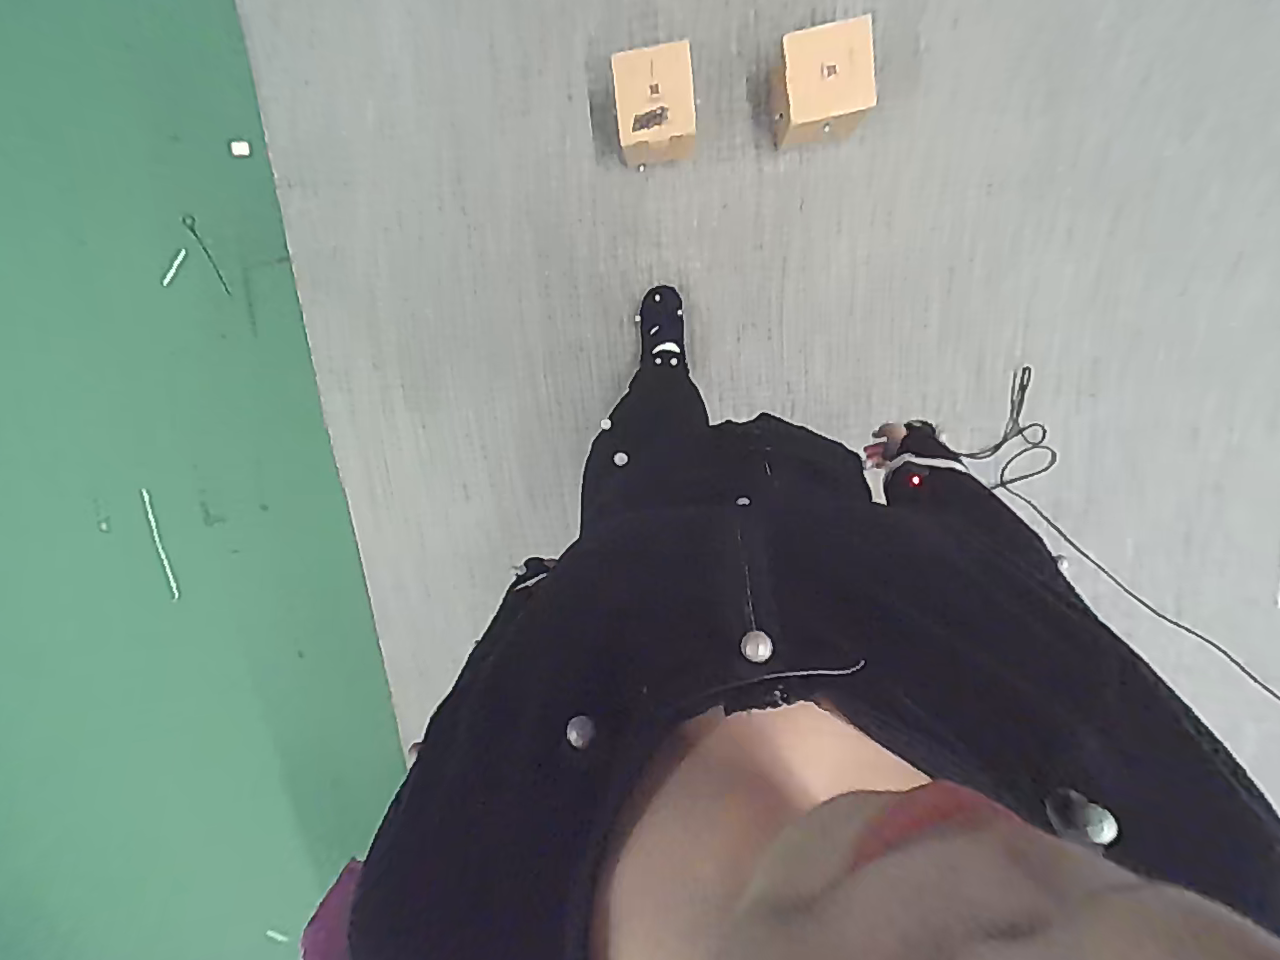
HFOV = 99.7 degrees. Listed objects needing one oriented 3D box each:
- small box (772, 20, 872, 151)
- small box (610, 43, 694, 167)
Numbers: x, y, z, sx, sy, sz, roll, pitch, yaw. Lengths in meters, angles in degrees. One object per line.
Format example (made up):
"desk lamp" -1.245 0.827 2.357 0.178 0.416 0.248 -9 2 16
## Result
"small box" 0.386 -0.842 1.176 0.179 0.176 0.168 -7 104 7
"small box" 0.035 -0.826 1.213 0.168 0.176 0.179 -5 102 7
